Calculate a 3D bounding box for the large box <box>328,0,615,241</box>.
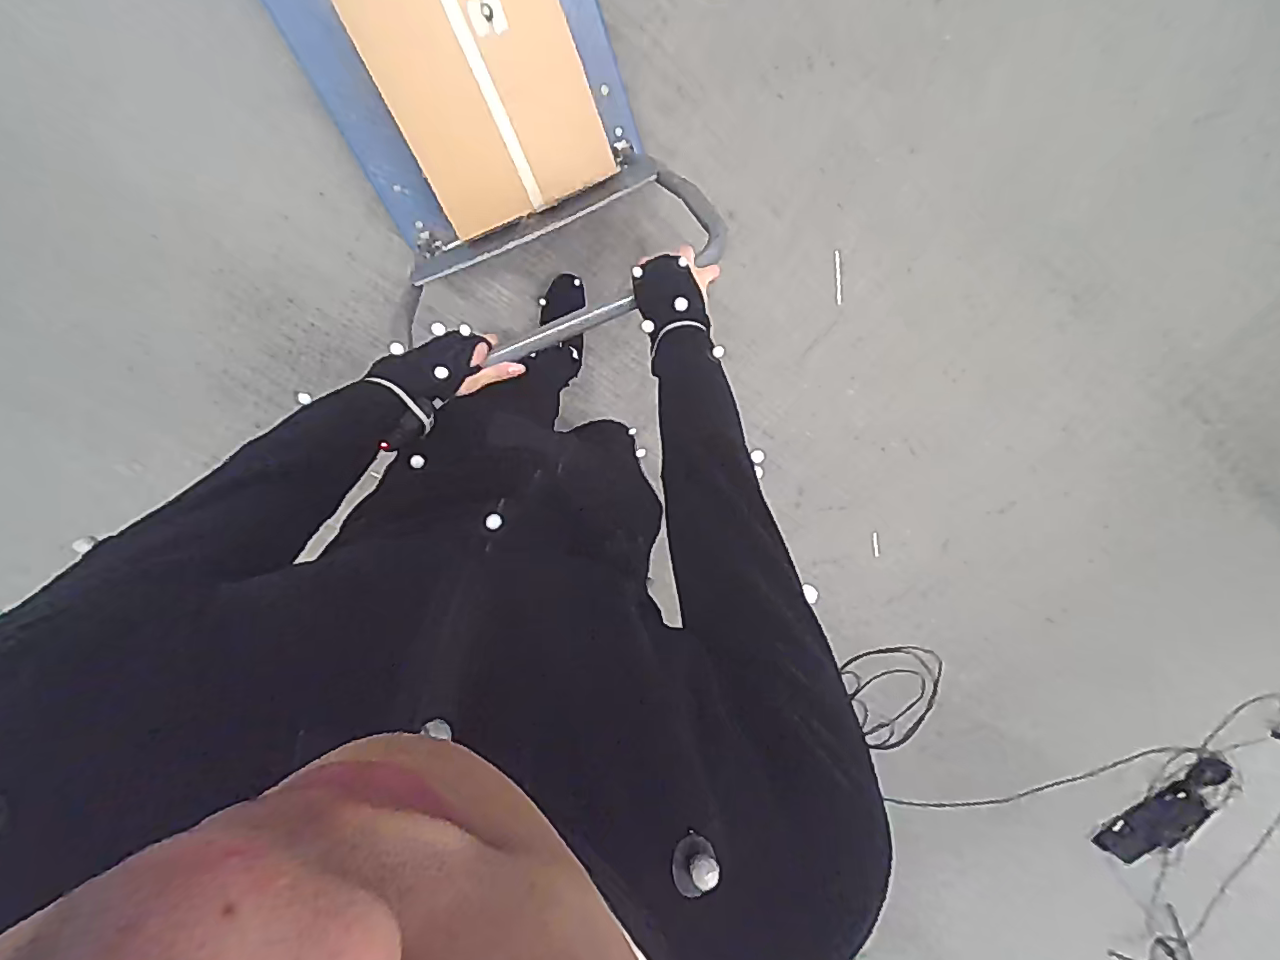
[{"bbox_3d":[-0.280,-0.719,0.986,0.320,0.320,0.408,-24,124,2],"label":"large box"}]
